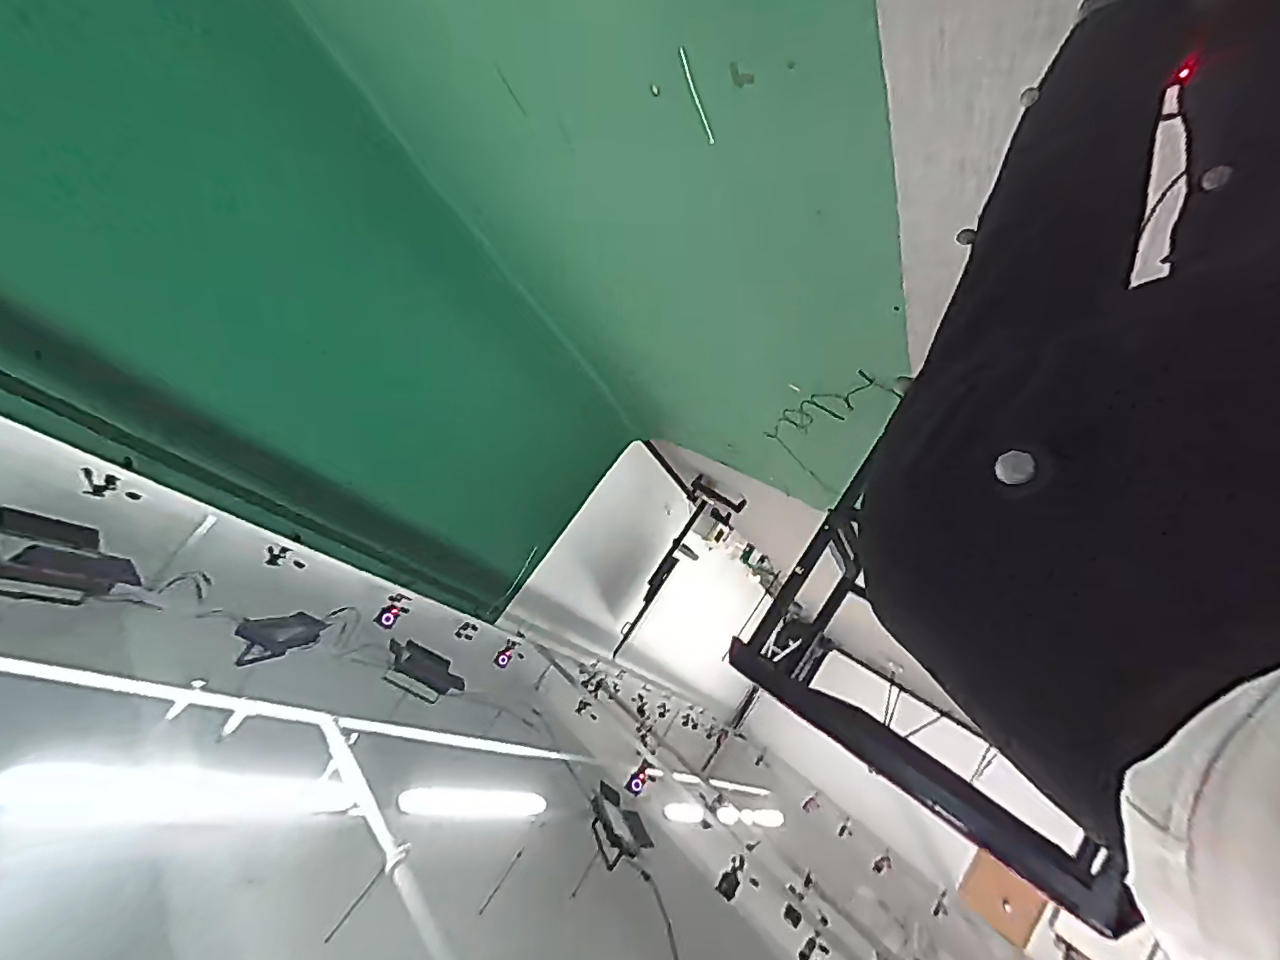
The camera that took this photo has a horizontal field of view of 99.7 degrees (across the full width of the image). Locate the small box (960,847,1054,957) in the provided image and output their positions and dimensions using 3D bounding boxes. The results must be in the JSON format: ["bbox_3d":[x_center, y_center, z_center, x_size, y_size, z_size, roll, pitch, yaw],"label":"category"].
[{"bbox_3d":[1.062,1.213,1.569,0.179,0.176,0.168,28,167,37],"label":"small box"}]
